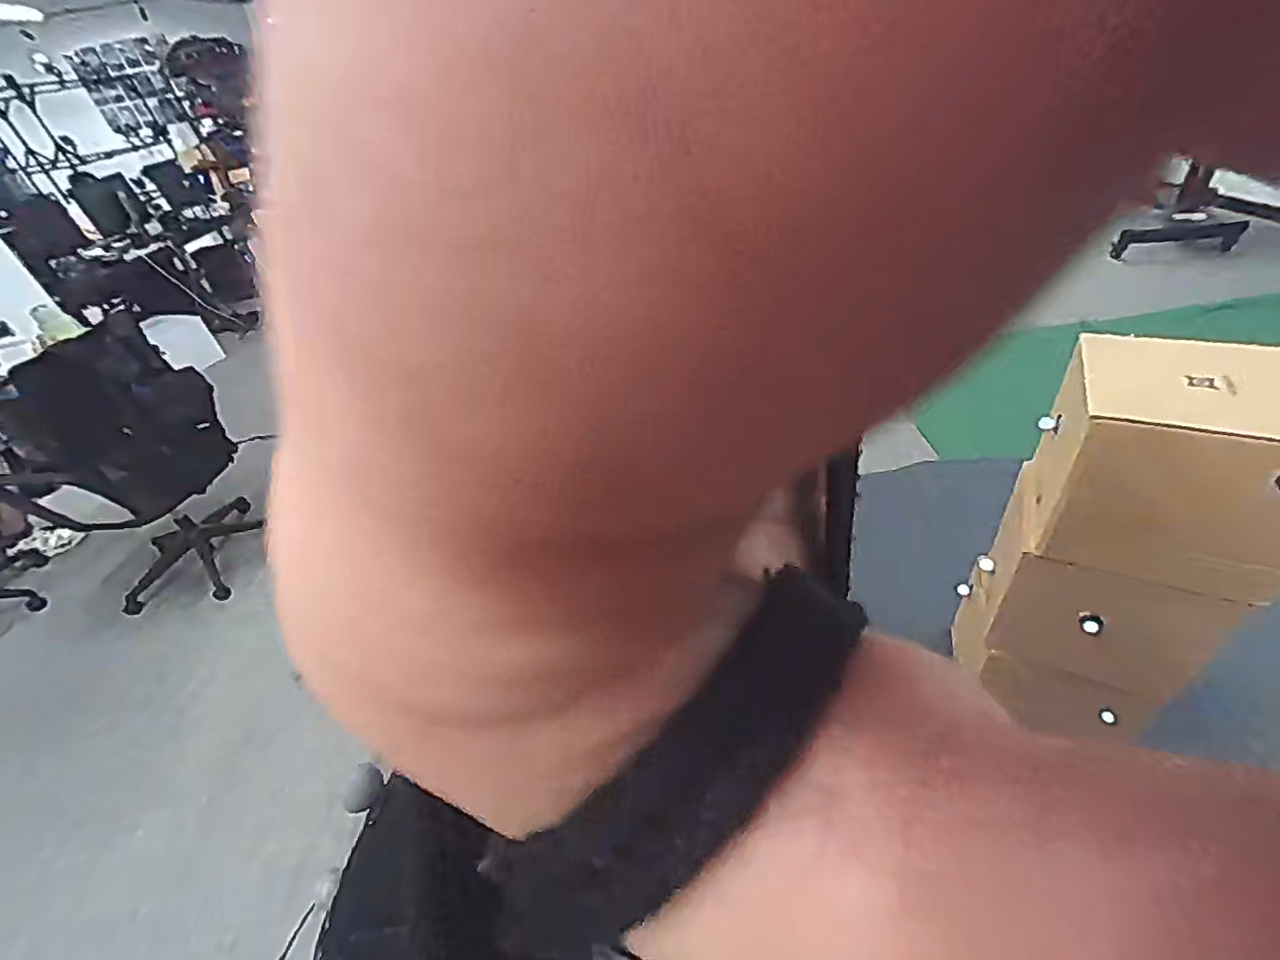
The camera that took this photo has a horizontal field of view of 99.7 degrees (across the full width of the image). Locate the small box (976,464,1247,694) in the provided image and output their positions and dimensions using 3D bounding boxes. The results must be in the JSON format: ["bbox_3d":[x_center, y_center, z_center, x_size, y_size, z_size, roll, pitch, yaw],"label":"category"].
[{"bbox_3d":[0.505,0.110,0.609,0.179,0.176,0.168,13,44,28],"label":"small box"}]

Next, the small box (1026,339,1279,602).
[{"bbox_3d":[0.486,-0.014,0.506,0.179,0.176,0.168,14,44,27],"label":"small box"}]
